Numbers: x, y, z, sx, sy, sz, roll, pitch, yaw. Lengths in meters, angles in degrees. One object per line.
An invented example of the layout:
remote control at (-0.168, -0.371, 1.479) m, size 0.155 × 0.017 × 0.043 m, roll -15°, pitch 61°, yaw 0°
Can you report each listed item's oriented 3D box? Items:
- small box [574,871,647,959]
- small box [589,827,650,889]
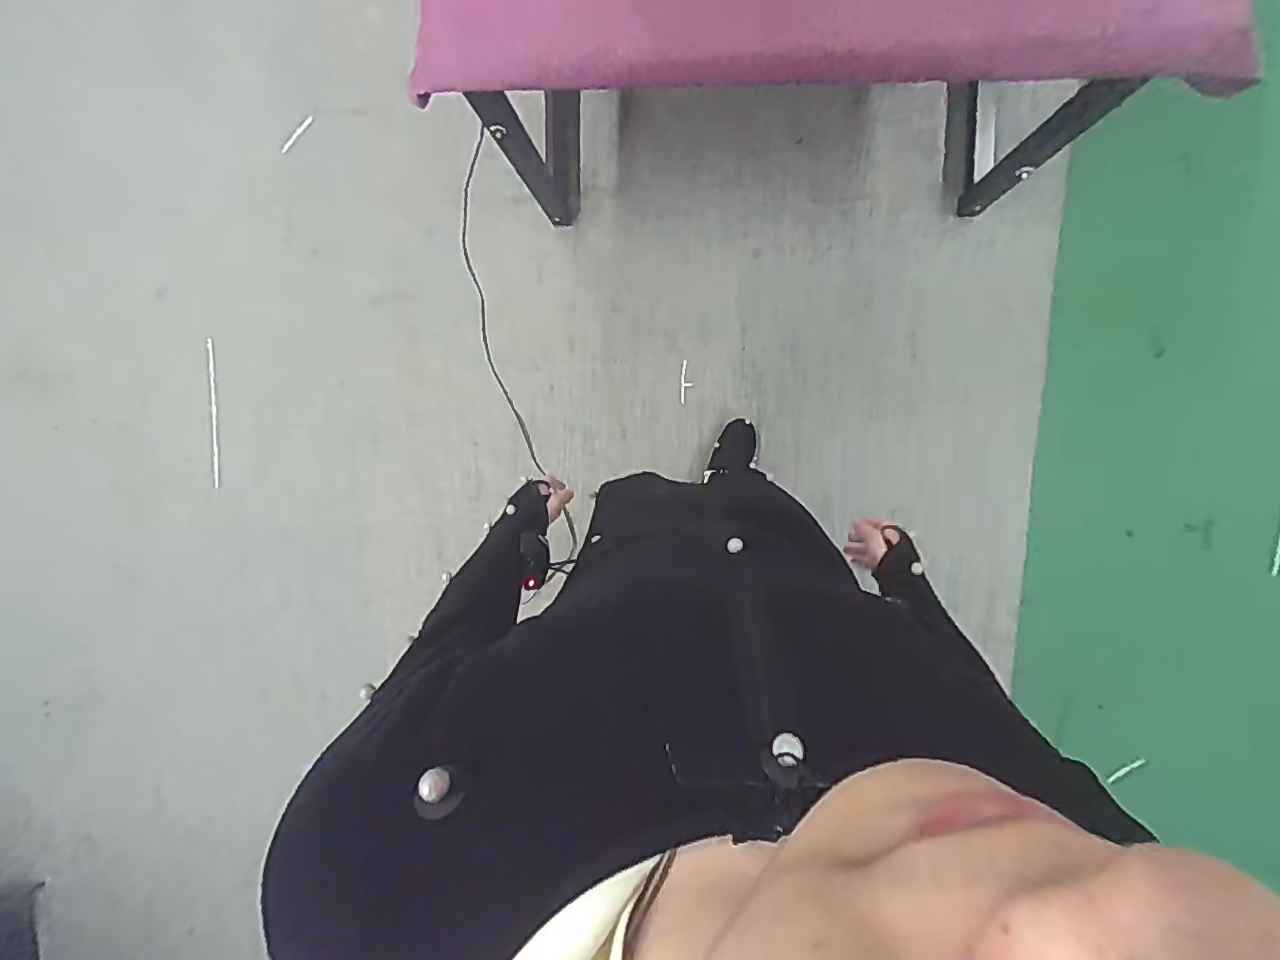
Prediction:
small box at (-0.075, 1.176, 1.417) m, size 0.168 × 0.176 × 0.179 m, roll 9°, pitch 97°, yaw 3°
small box at (-0.062, 1.163, 1.580) m, size 0.168 × 0.176 × 0.179 m, roll 7°, pitch 95°, yaw 4°
